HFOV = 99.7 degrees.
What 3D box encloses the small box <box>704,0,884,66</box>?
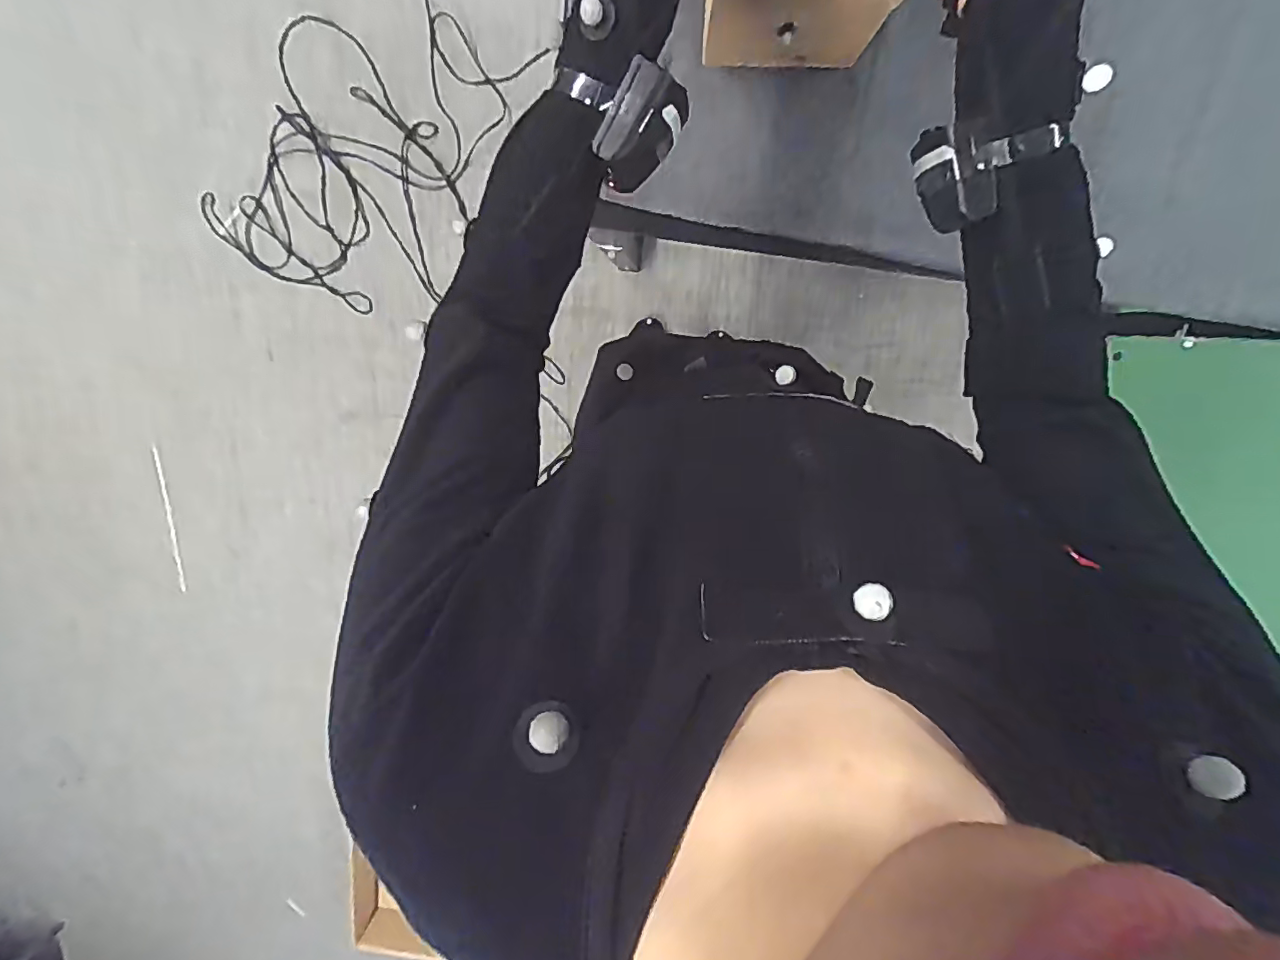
[{"bbox_3d":[0.151,-0.518,0.497,0.168,0.176,0.179,2,104,1],"label":"small box"}]
